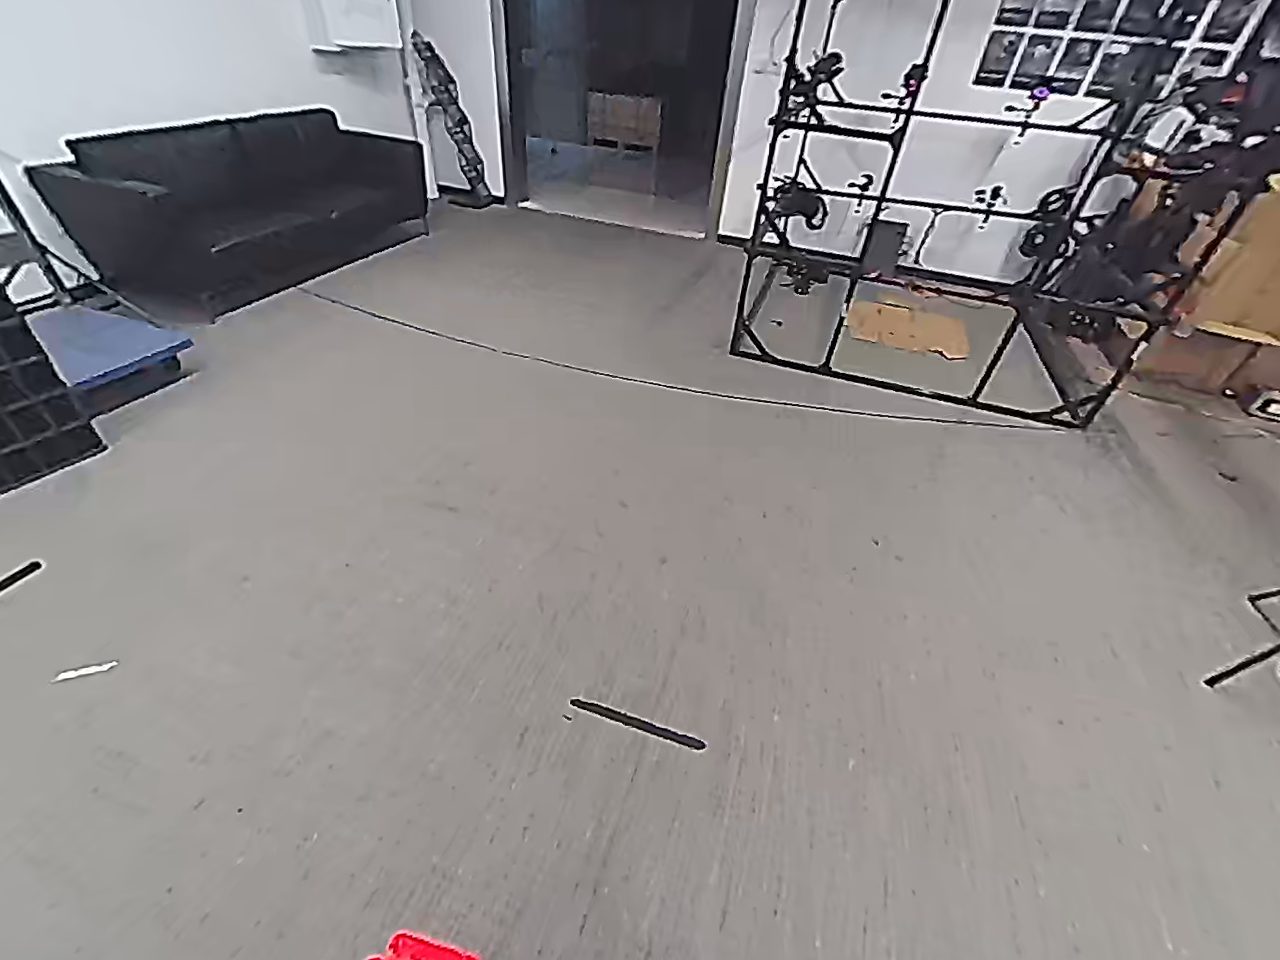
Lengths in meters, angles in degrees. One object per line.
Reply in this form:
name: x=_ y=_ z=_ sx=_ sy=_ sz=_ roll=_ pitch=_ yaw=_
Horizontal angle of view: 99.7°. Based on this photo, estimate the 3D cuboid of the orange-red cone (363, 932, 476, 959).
orange-red cone: x=-0.421 y=0.877 z=0.927 sx=0.199 sy=0.360 sz=0.198 roll=12 pitch=39 yaw=10
